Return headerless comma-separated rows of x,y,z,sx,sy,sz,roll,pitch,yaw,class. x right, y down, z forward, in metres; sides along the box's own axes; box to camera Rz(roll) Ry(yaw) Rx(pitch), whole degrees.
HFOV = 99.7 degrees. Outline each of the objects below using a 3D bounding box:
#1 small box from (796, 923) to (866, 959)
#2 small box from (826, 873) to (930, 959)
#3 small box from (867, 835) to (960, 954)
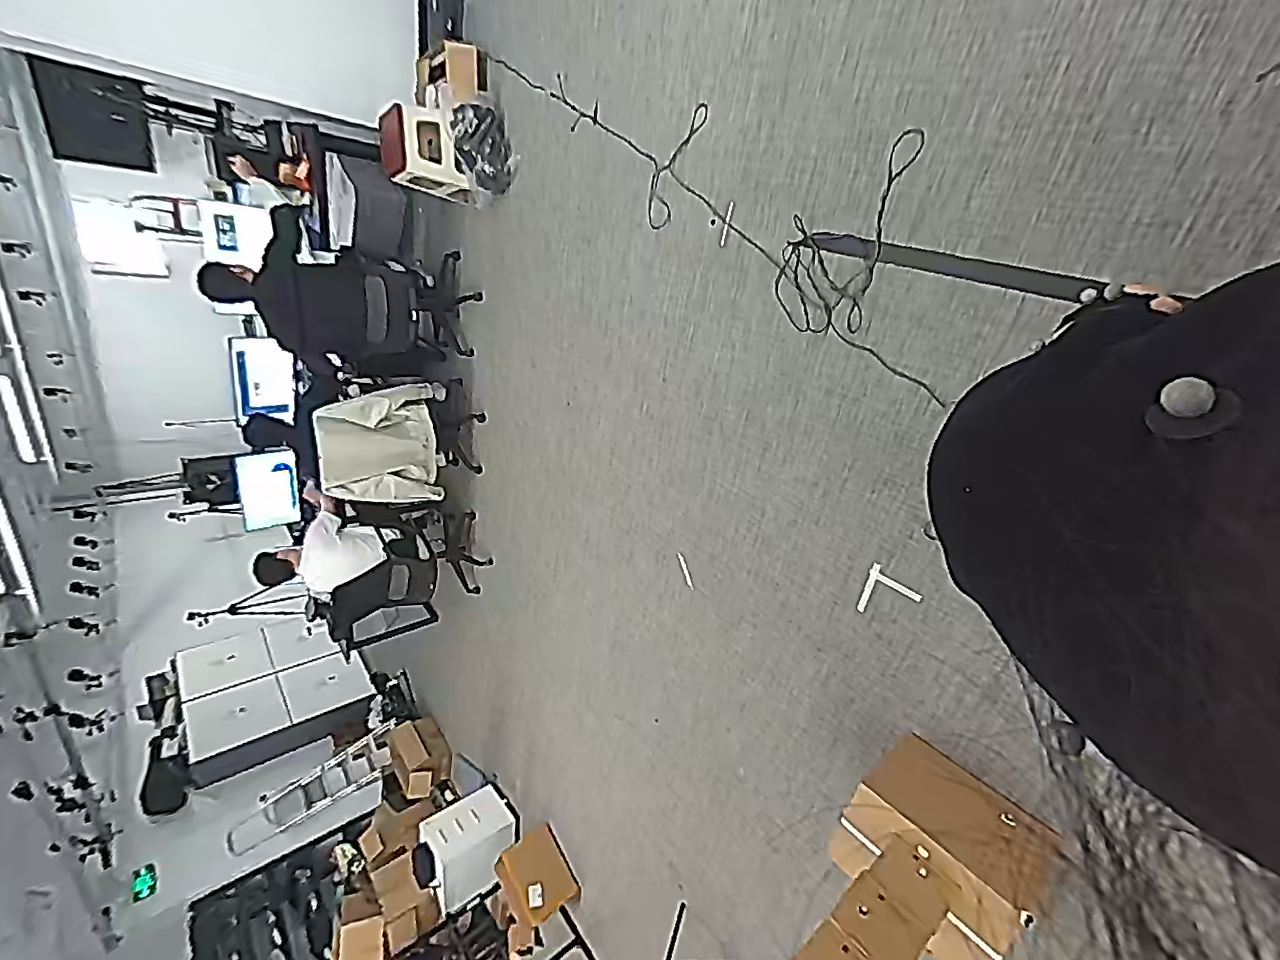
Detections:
0.390,1.063,1.090,0.168,0.176,0.179,25,117,45,small box
0.511,1.033,1.197,0.168,0.176,0.179,30,121,43,small box
0.635,1.015,1.301,0.168,0.176,0.179,31,120,41,small box
